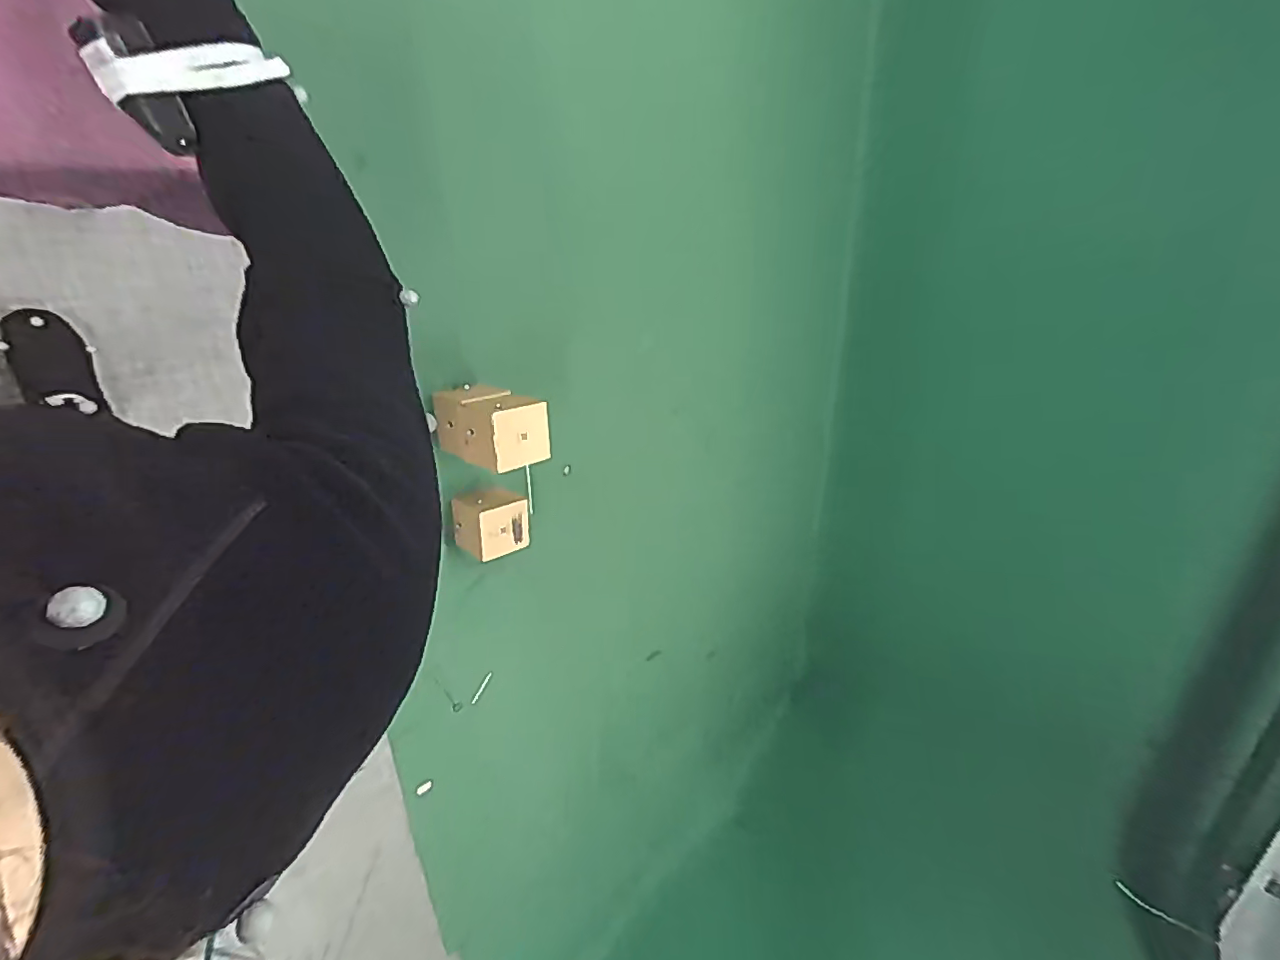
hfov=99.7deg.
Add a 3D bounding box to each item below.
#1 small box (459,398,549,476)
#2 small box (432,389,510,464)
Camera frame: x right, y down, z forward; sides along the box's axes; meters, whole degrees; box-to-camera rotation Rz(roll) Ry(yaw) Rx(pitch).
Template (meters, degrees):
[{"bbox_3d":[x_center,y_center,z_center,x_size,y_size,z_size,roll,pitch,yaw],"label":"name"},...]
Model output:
[{"bbox_3d":[-0.376,-0.126,1.500,0.179,0.176,0.168,-22,119,-43],"label":"small box"},{"bbox_3d":[-0.493,-0.166,1.606,0.168,0.176,0.179,-22,119,-43],"label":"small box"}]
